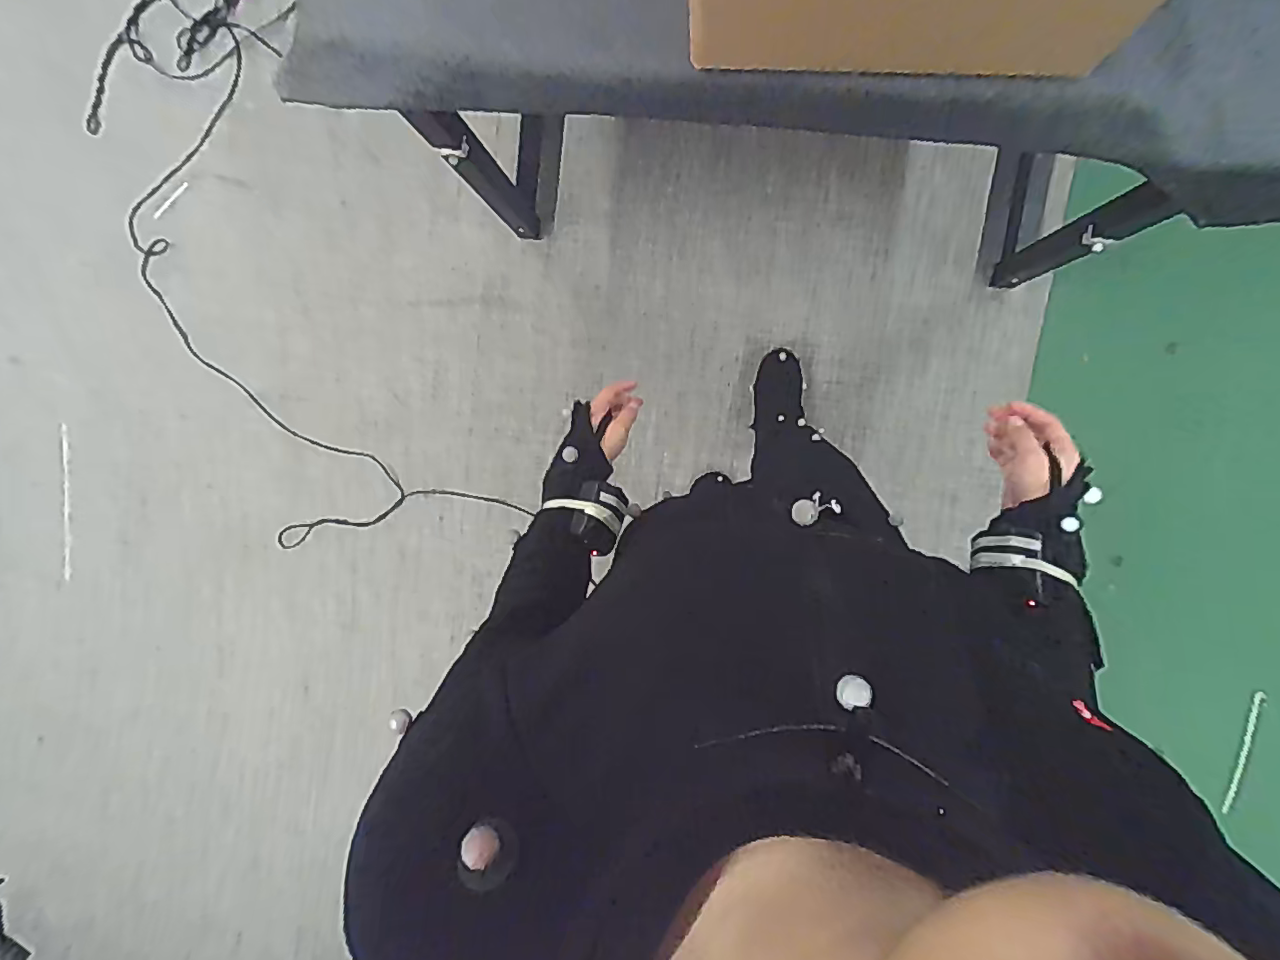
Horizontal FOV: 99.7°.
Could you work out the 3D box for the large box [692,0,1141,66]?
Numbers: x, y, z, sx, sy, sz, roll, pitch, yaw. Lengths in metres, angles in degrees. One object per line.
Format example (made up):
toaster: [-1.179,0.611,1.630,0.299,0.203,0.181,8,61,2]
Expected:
large box: [0.248,-0.575,0.411,0.408,0.320,0.320,4,95,4]
